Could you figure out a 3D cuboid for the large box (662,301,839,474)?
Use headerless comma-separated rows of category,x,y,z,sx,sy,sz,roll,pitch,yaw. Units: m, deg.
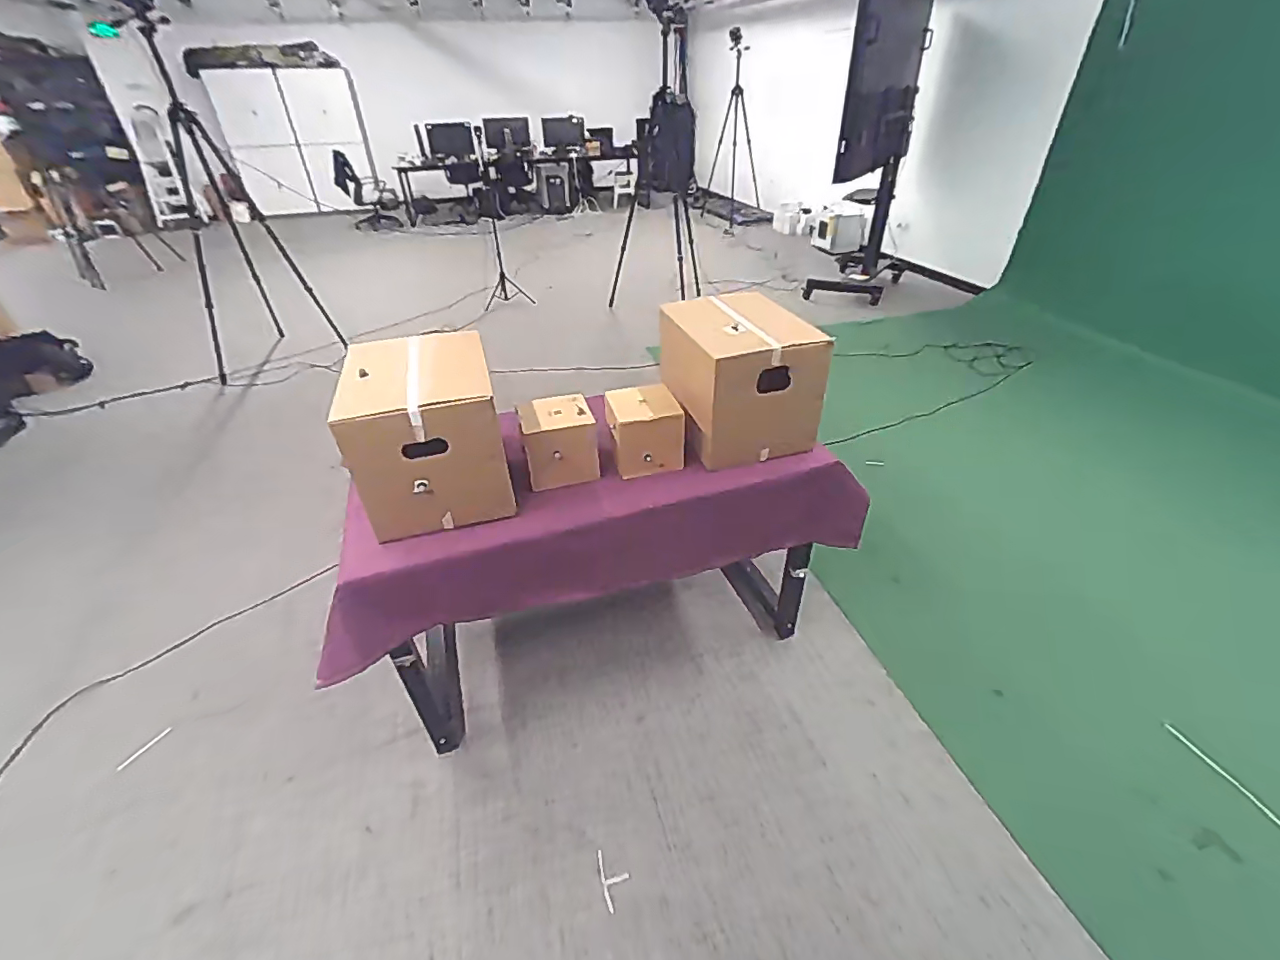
large box,0.272,-0.272,1.494,0.320,0.320,0.408,-11,38,-13
